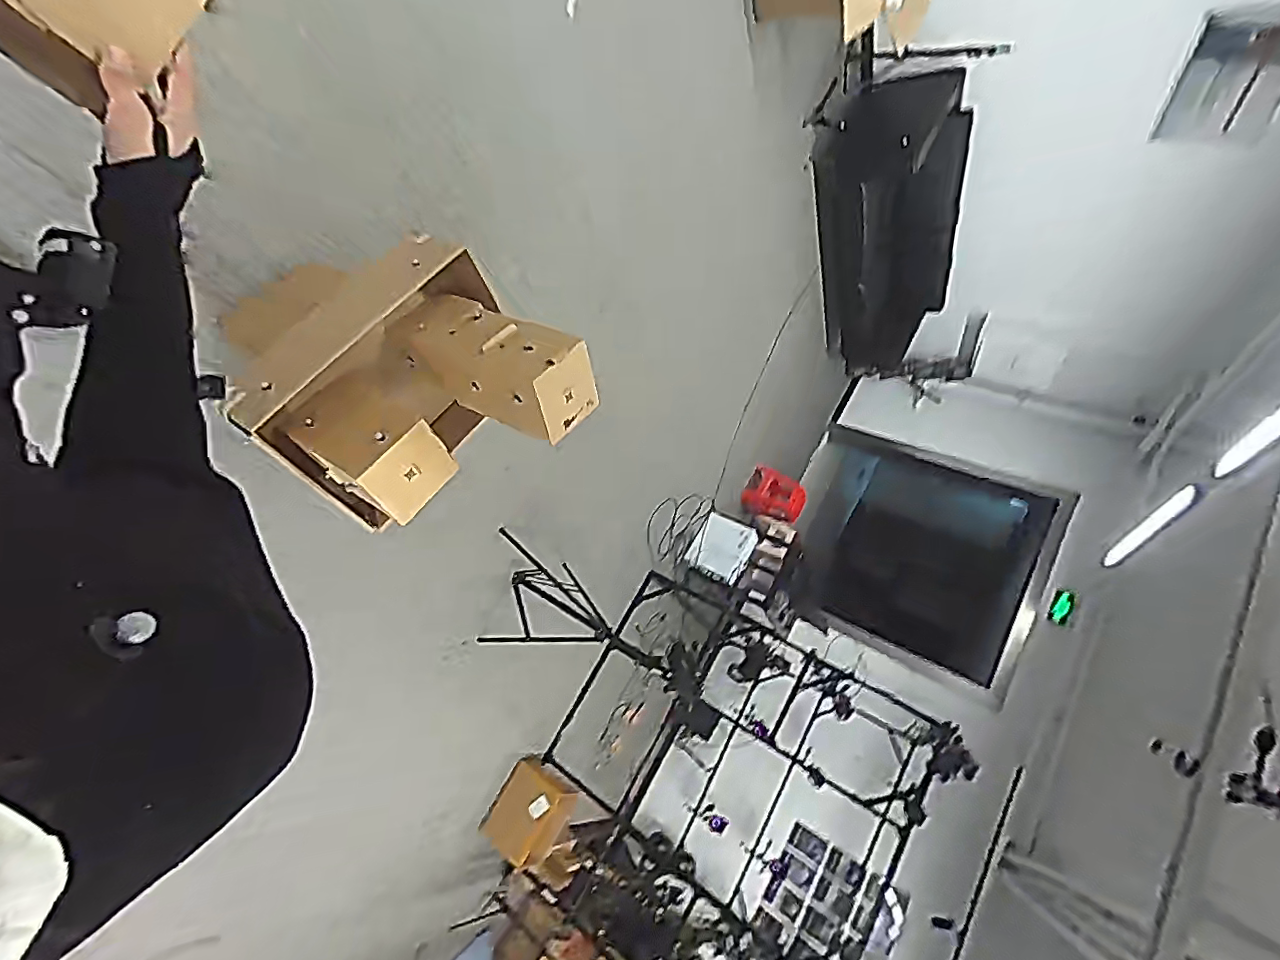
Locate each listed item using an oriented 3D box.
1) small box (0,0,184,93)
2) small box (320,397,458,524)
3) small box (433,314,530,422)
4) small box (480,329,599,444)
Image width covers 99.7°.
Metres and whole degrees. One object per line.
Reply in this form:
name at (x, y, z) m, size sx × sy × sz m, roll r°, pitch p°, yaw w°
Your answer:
small box at (-0.497, -0.455, 0.434) m, size 0.168 × 0.176 × 0.179 m, roll 36°, pitch 76°, yaw -59°
small box at (-0.528, -0.044, 1.130) m, size 0.179 × 0.176 × 0.168 m, roll -53°, pitch 149°, yaw -24°
small box at (-0.347, -0.268, 1.260) m, size 0.168 × 0.176 × 0.179 m, roll -49°, pitch 147°, yaw -28°
small box at (-0.217, -0.212, 1.175) m, size 0.168 × 0.176 × 0.179 m, roll -46°, pitch 145°, yaw -31°
